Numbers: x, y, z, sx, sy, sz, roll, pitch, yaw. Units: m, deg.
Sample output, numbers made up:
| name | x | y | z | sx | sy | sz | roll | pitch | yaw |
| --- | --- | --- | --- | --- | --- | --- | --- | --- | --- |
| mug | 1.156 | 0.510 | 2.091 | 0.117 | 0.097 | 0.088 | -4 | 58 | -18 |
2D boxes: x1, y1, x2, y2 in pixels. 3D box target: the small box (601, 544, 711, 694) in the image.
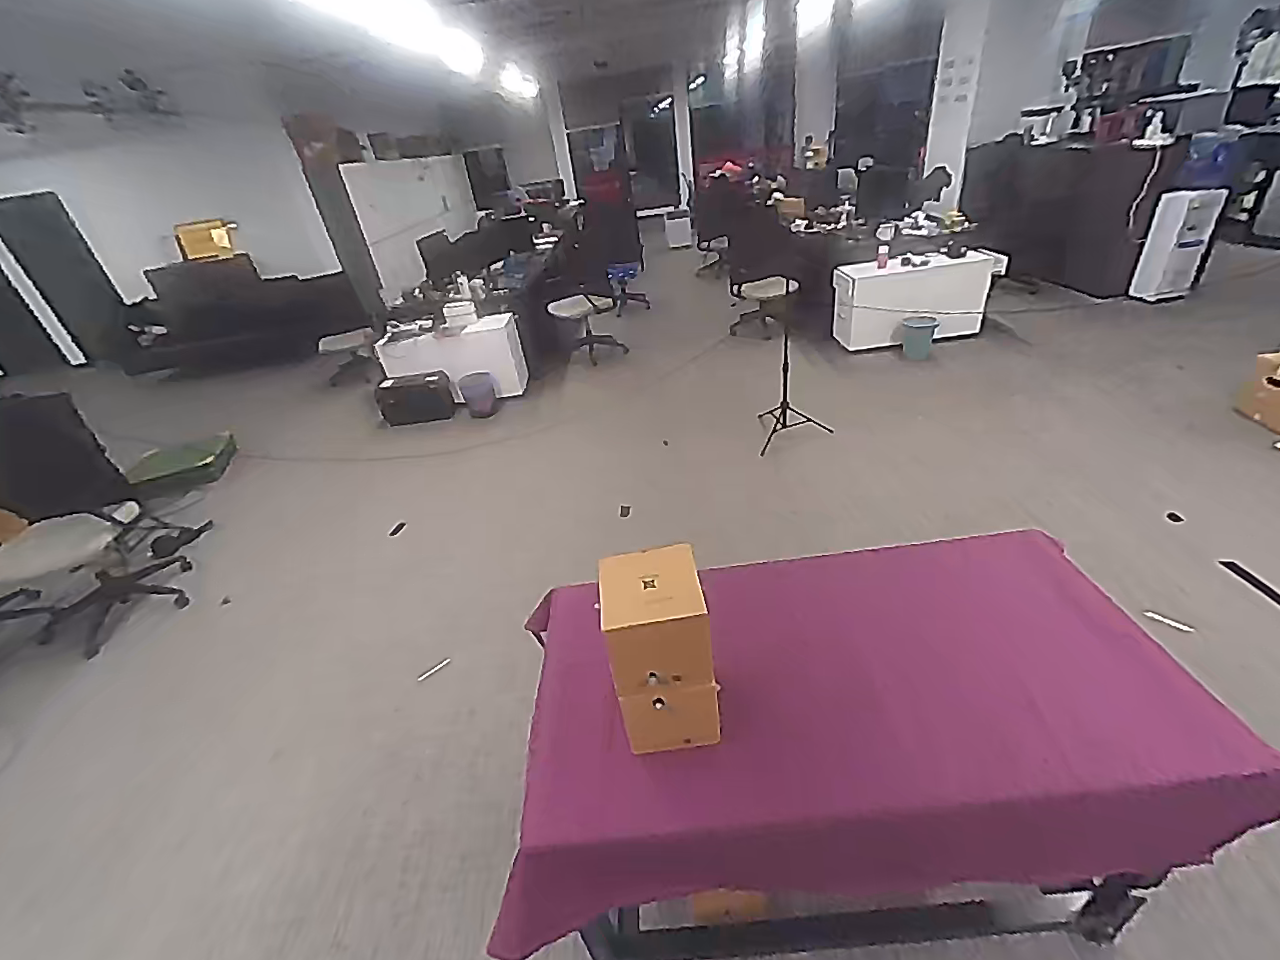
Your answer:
| name | x | y | z | sx | sy | sz | roll | pitch | yaw |
| --- | --- | --- | --- | --- | --- | --- | --- | --- | --- |
| small box | 0.025 | 0.236 | 0.931 | 0.168 | 0.176 | 0.179 | -8 | 32 | 0 |

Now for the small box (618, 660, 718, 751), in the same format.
| name | x | y | z | sx | sy | sz | roll | pitch | yaw |
| --- | --- | --- | --- | --- | --- | --- | --- | --- | --- |
| small box | 0.050 | 0.374 | 1.015 | 0.168 | 0.176 | 0.179 | -8 | 32 | 1 |
